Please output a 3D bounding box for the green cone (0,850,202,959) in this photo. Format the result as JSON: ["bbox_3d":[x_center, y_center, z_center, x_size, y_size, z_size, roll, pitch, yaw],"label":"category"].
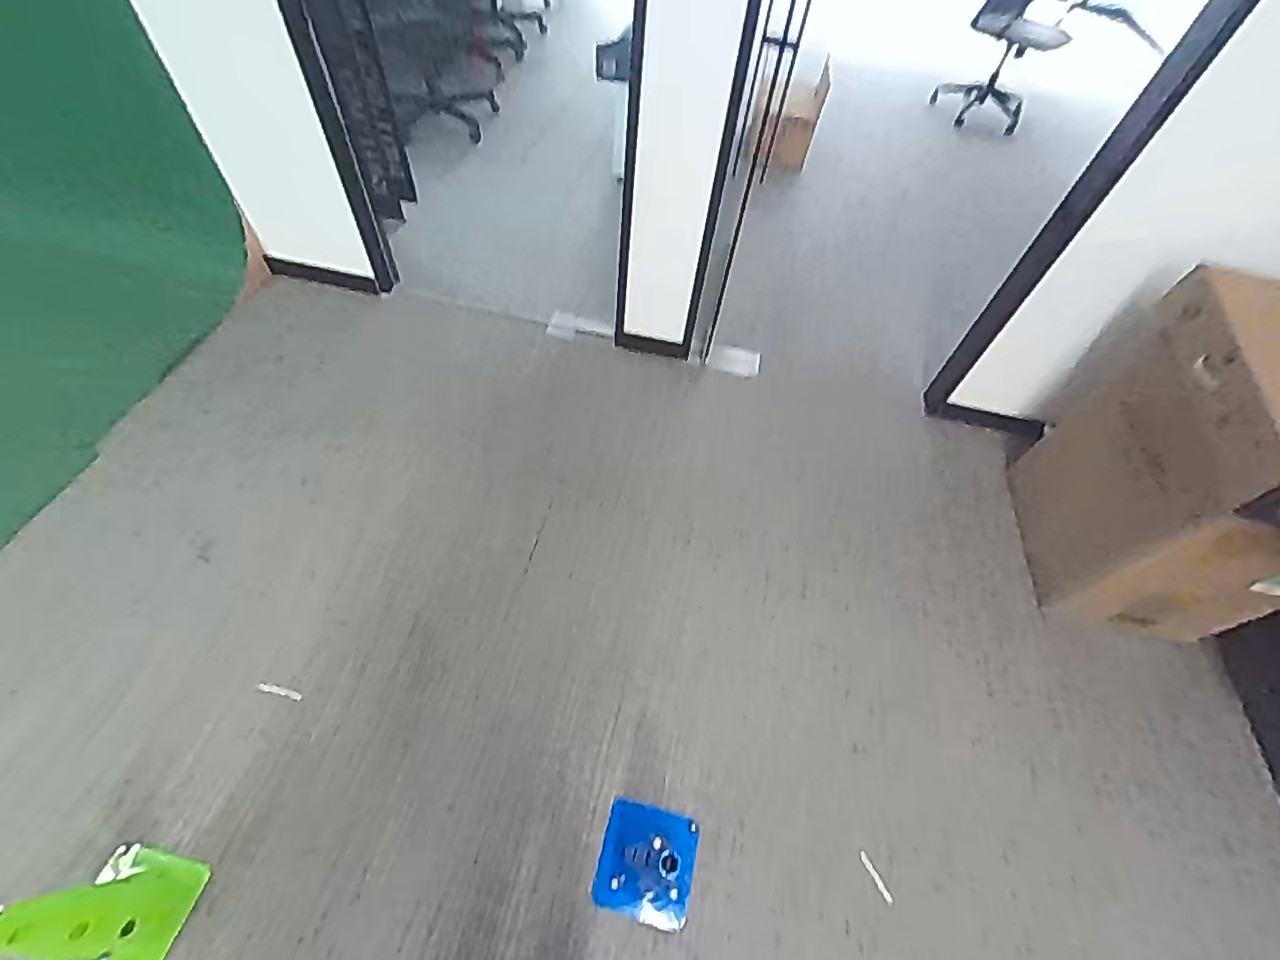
[{"bbox_3d":[-0.955,0.733,0.875,0.202,0.368,0.200,13,54,2],"label":"green cone"}]
